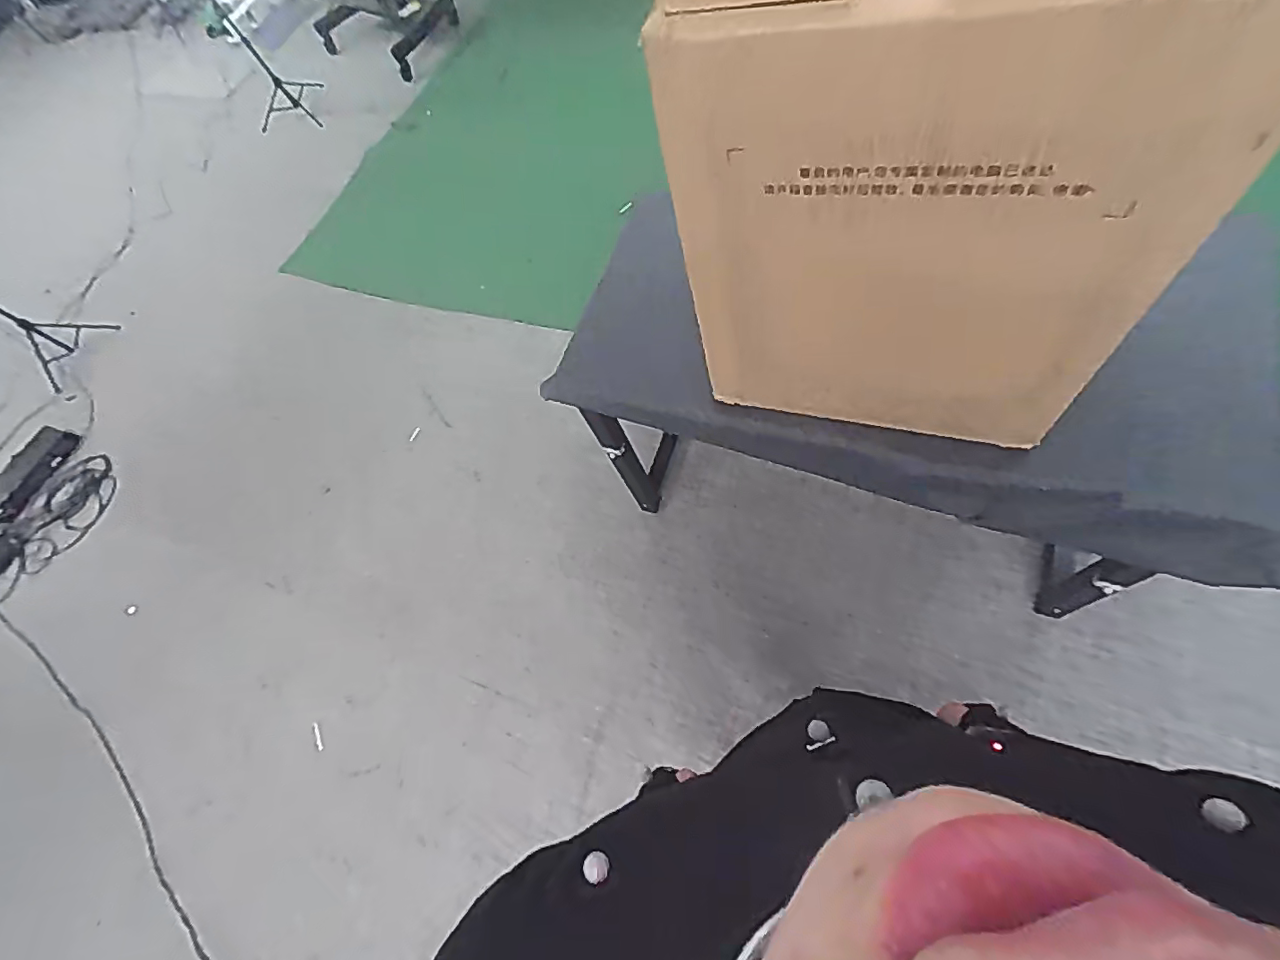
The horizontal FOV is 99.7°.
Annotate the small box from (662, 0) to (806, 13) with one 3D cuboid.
[{"bbox_3d":[0.101,-0.521,0.435,0.179,0.176,0.168,12,70,22],"label":"small box"}]
